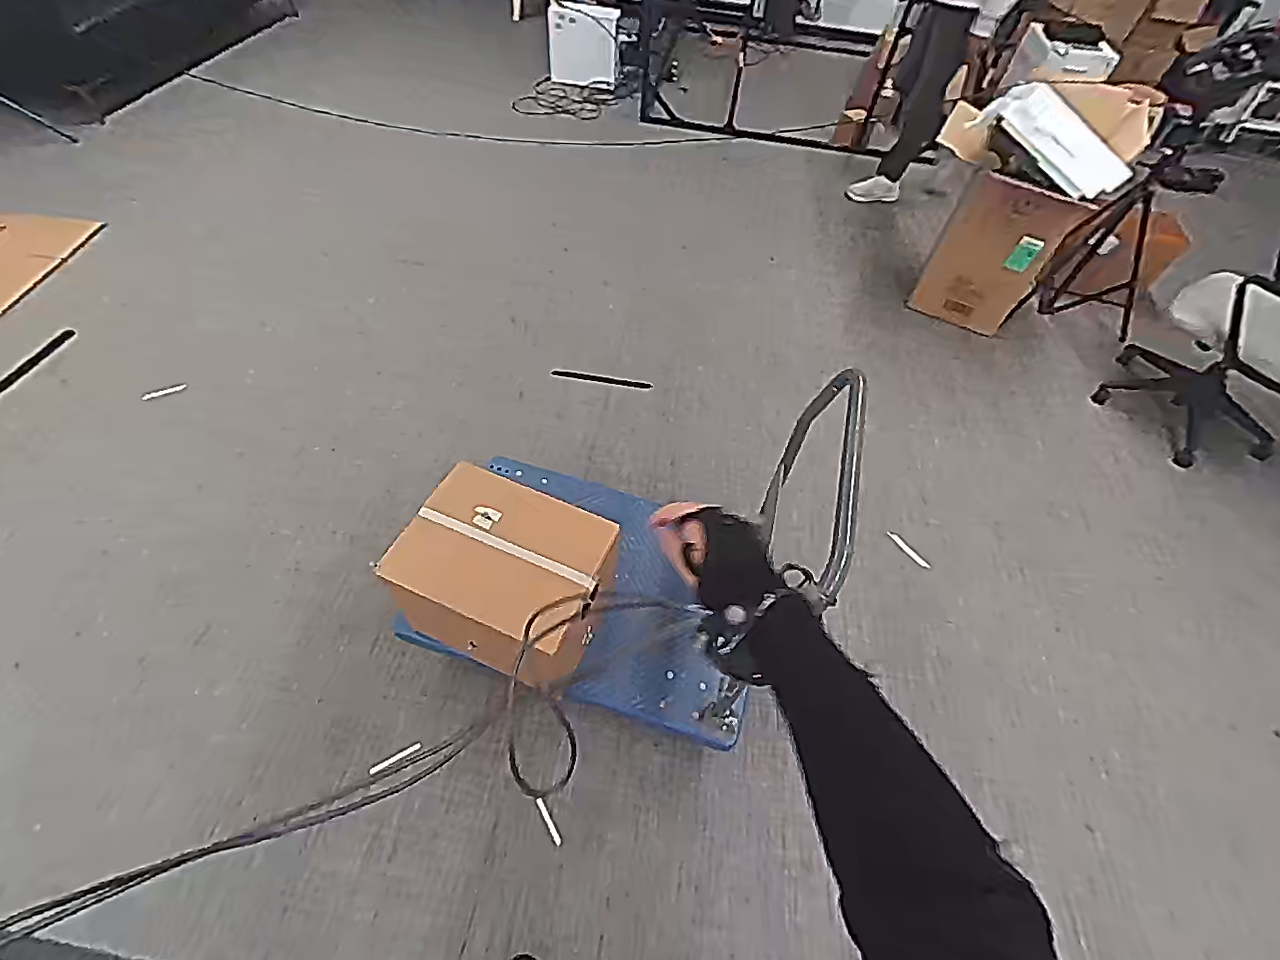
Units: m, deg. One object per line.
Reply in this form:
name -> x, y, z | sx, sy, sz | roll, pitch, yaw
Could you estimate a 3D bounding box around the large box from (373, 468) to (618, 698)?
large box -> -0.291, 0.236, 1.224 | 0.408, 0.320, 0.320 | 21, 54, 11
